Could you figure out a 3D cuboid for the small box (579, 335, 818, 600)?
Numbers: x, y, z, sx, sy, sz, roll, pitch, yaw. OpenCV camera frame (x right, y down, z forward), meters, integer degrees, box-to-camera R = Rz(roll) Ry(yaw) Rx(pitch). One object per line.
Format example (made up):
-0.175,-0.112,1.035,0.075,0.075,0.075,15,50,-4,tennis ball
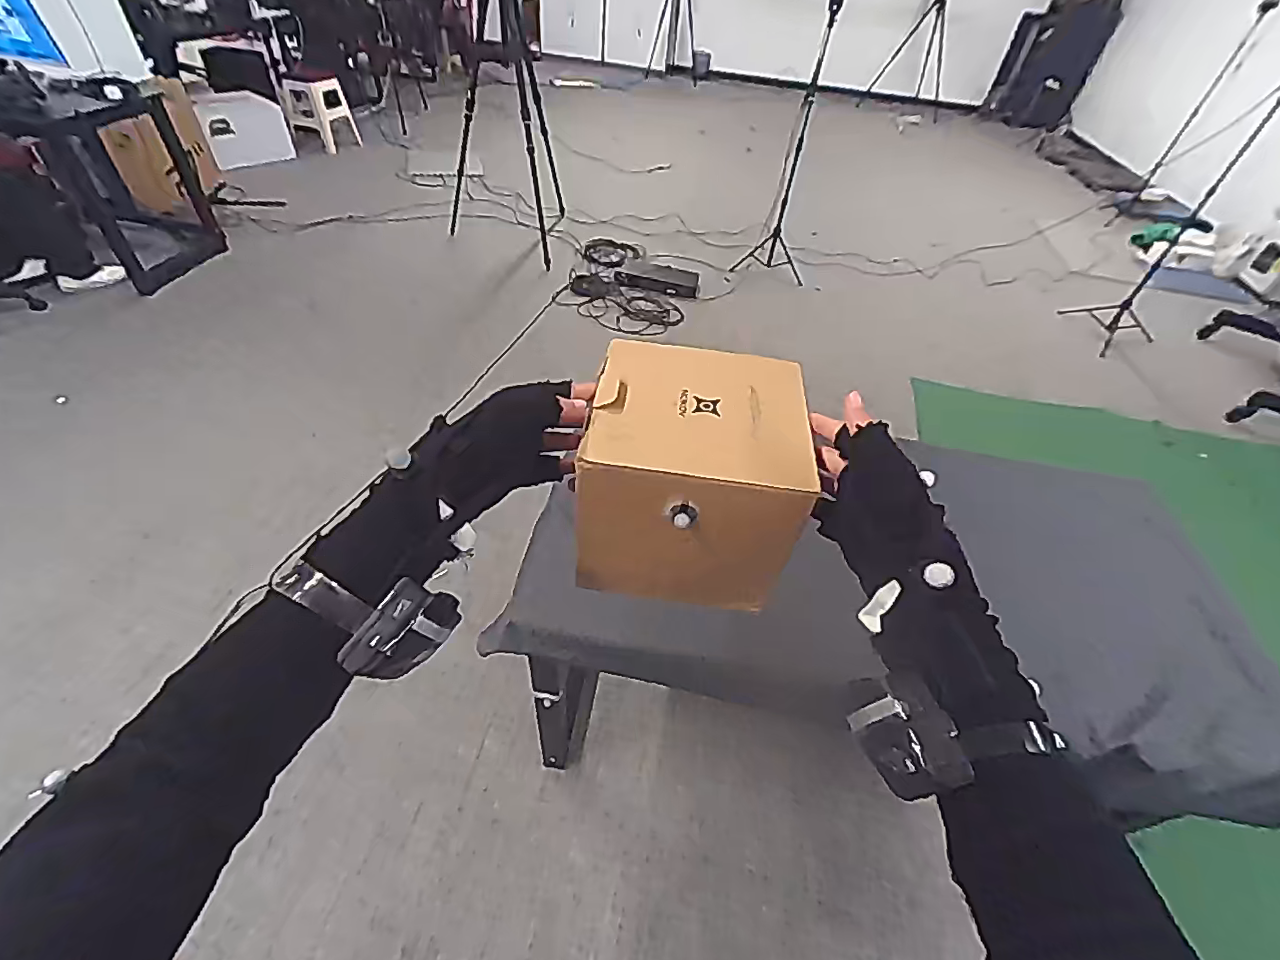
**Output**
0.044,-0.008,0.497,0.179,0.176,0.168,8,47,1,small box
